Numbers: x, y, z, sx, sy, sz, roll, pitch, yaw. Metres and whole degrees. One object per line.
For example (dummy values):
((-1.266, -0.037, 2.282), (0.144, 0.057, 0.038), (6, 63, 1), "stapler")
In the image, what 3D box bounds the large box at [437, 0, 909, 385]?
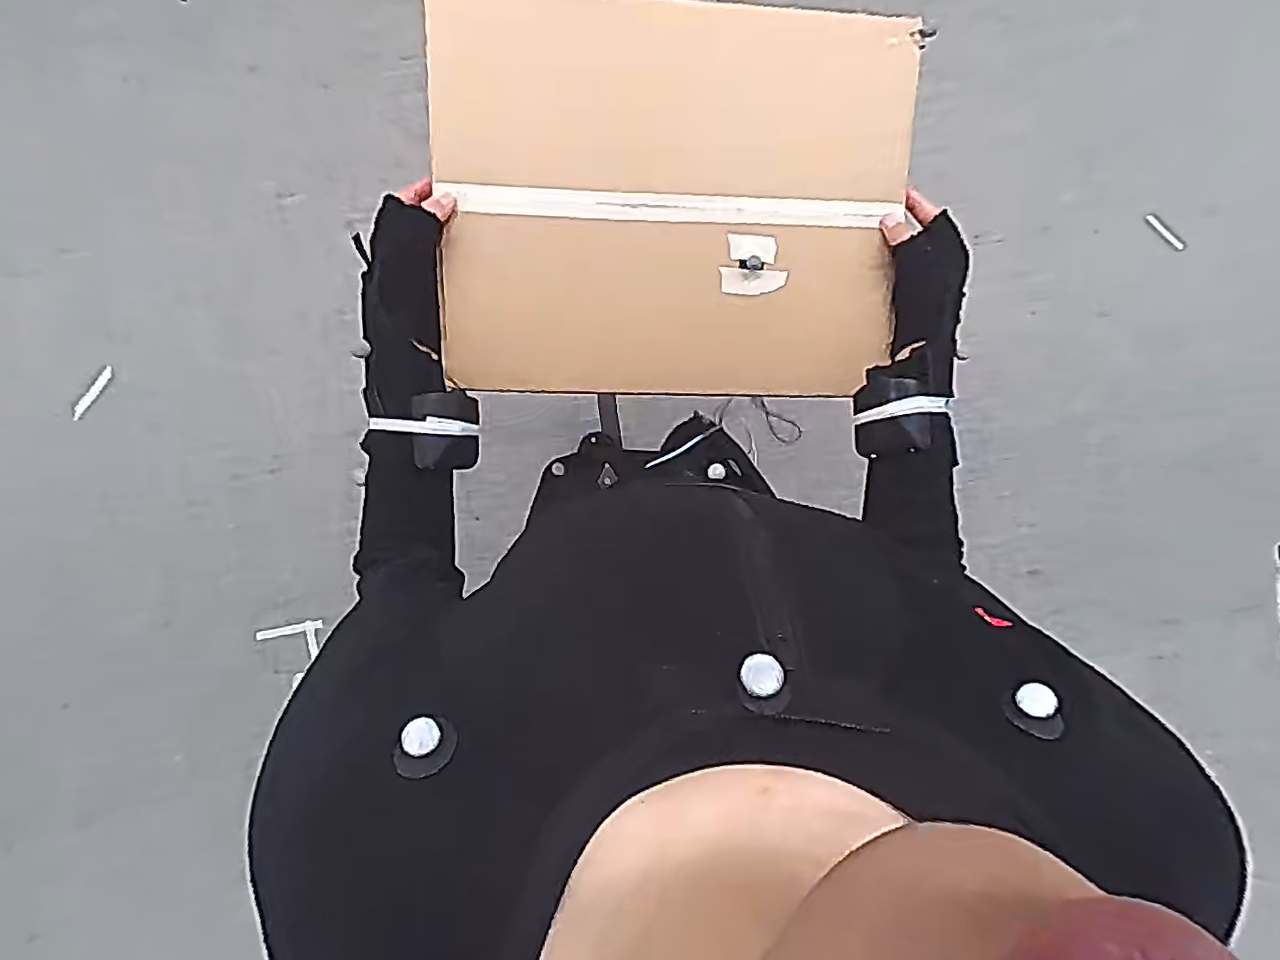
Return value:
((0.016, -0.271, 0.618), (0.408, 0.320, 0.320), (0, 102, -7), "large box")
